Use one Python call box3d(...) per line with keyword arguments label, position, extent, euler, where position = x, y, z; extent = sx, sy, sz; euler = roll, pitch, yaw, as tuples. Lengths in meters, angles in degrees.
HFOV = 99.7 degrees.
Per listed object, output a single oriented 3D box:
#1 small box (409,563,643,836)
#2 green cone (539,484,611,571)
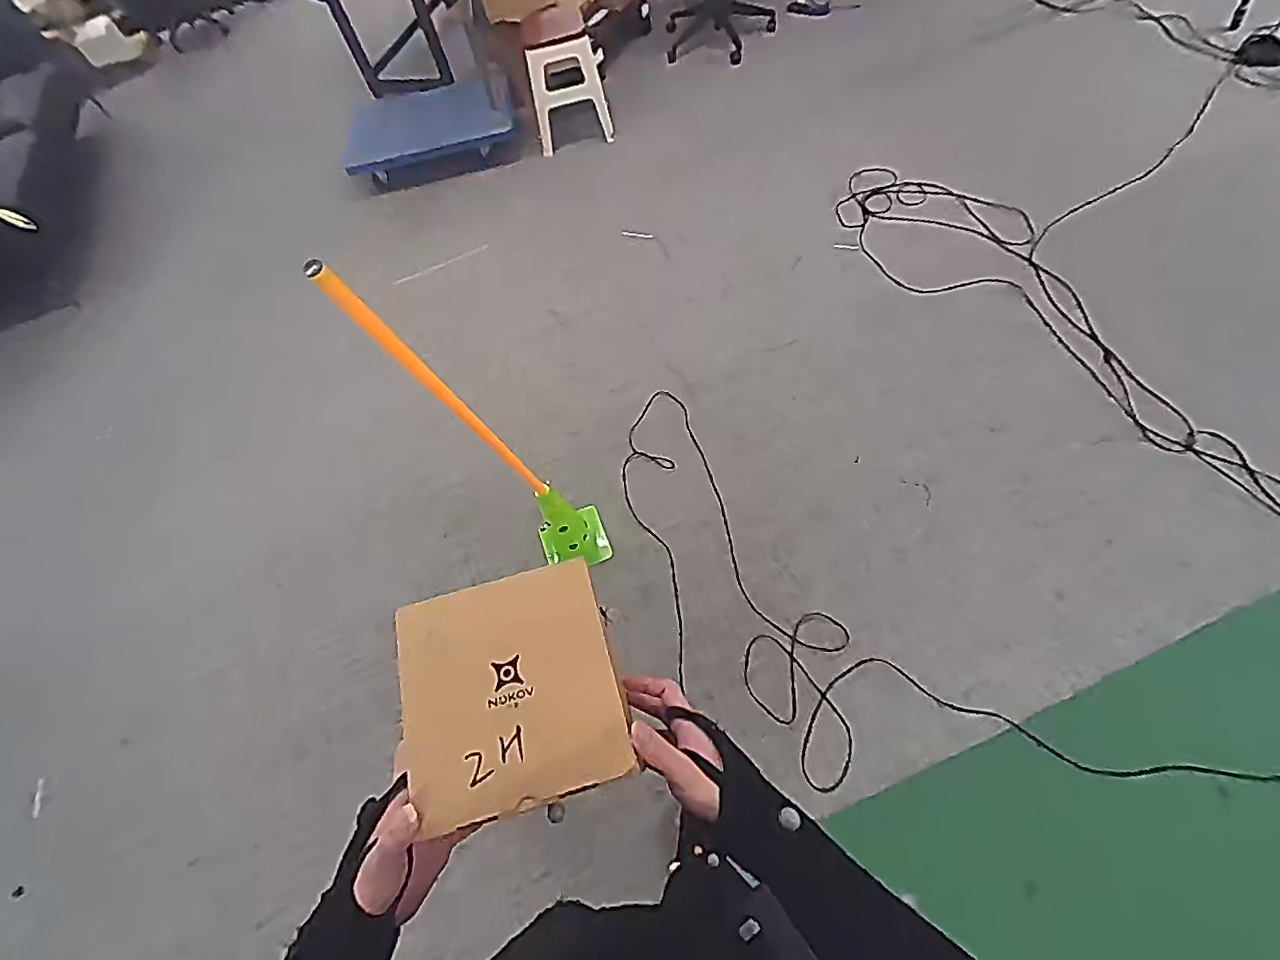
box3d(label="small box", position=(-0.097, 0.202, 0.502), extent=(0.168, 0.176, 0.179), euler=(-15, 63, -5))
box3d(label="green cone", position=(-0.229, 0.116, 1.571), extent=(0.202, 0.368, 0.200), euler=(-22, 61, -5))
